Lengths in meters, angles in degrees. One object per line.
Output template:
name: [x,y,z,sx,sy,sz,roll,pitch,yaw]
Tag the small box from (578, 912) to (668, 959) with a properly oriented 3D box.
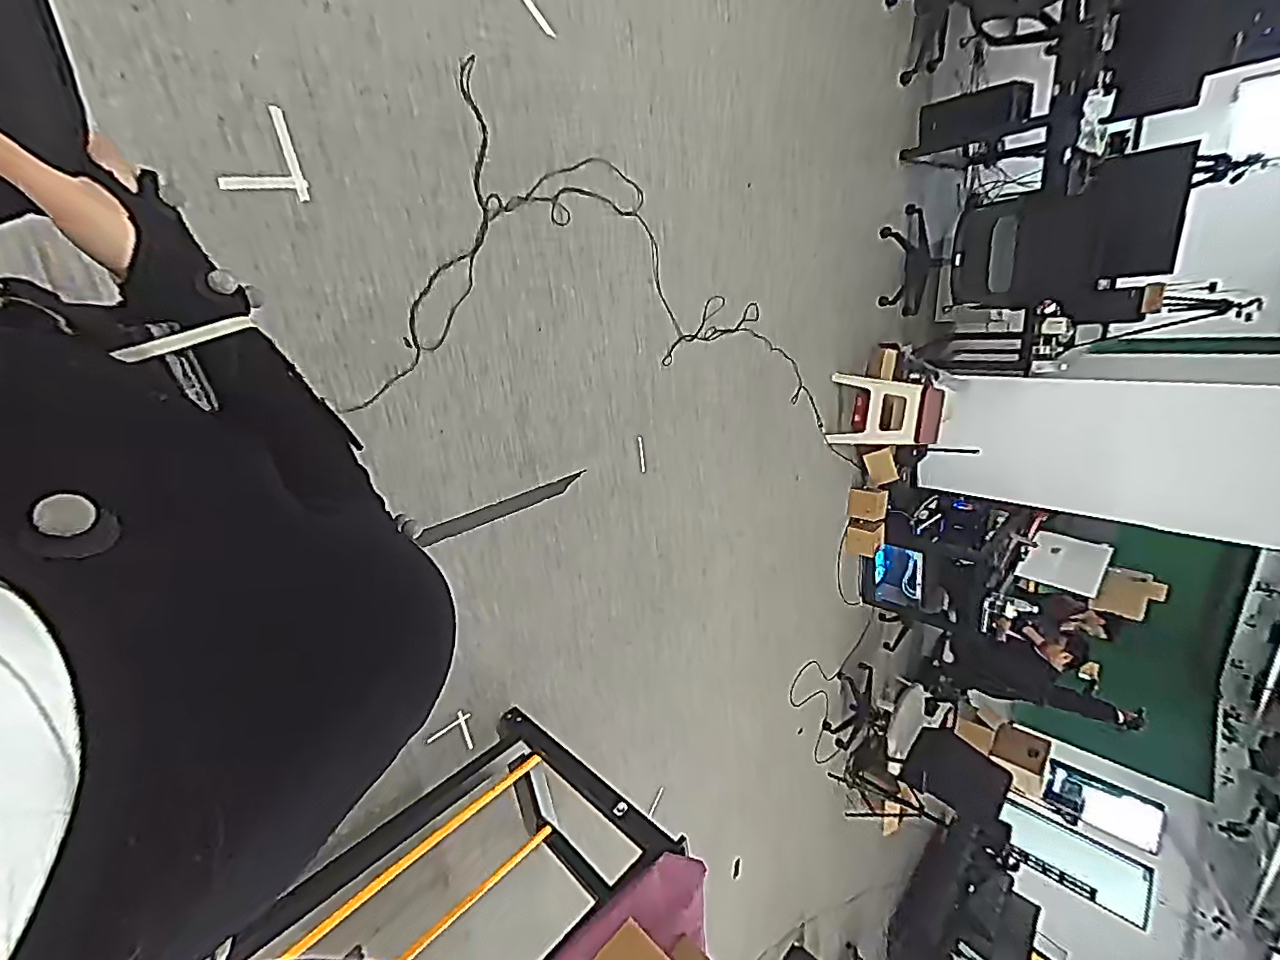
small box: [-0.031,1.048,1.099,0.179,0.176,0.168,-26,119,-38]
